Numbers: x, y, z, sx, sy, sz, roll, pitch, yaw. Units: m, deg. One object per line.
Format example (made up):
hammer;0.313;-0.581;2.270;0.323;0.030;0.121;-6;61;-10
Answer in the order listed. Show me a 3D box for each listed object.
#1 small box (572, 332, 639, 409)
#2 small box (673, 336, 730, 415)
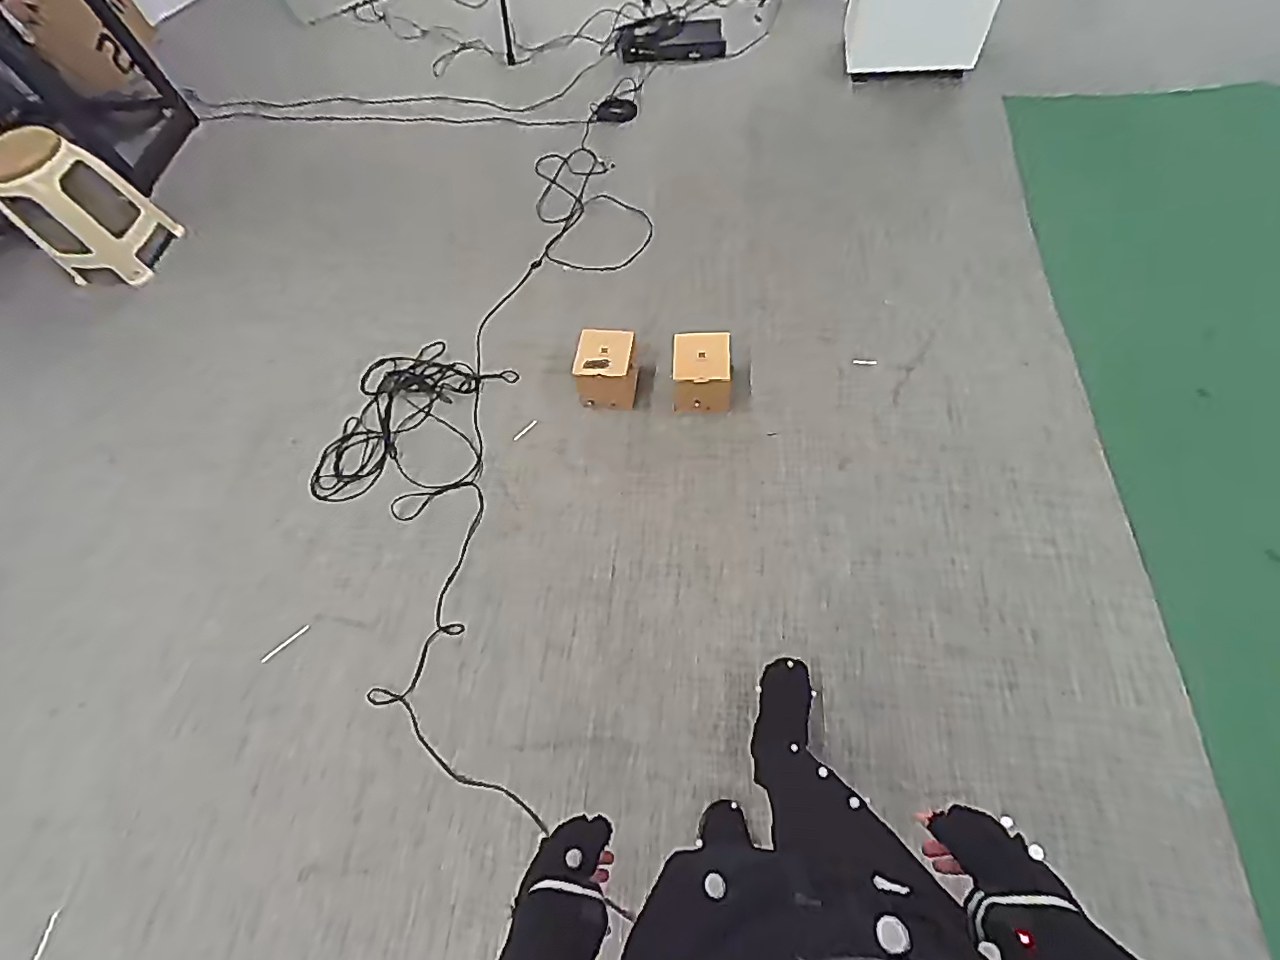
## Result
small box;-0.101;-0.339;1.696;0.168;0.176;0.179;5;63;8
small box;0.187;-0.319;1.656;0.168;0.176;0.179;0;64;7
